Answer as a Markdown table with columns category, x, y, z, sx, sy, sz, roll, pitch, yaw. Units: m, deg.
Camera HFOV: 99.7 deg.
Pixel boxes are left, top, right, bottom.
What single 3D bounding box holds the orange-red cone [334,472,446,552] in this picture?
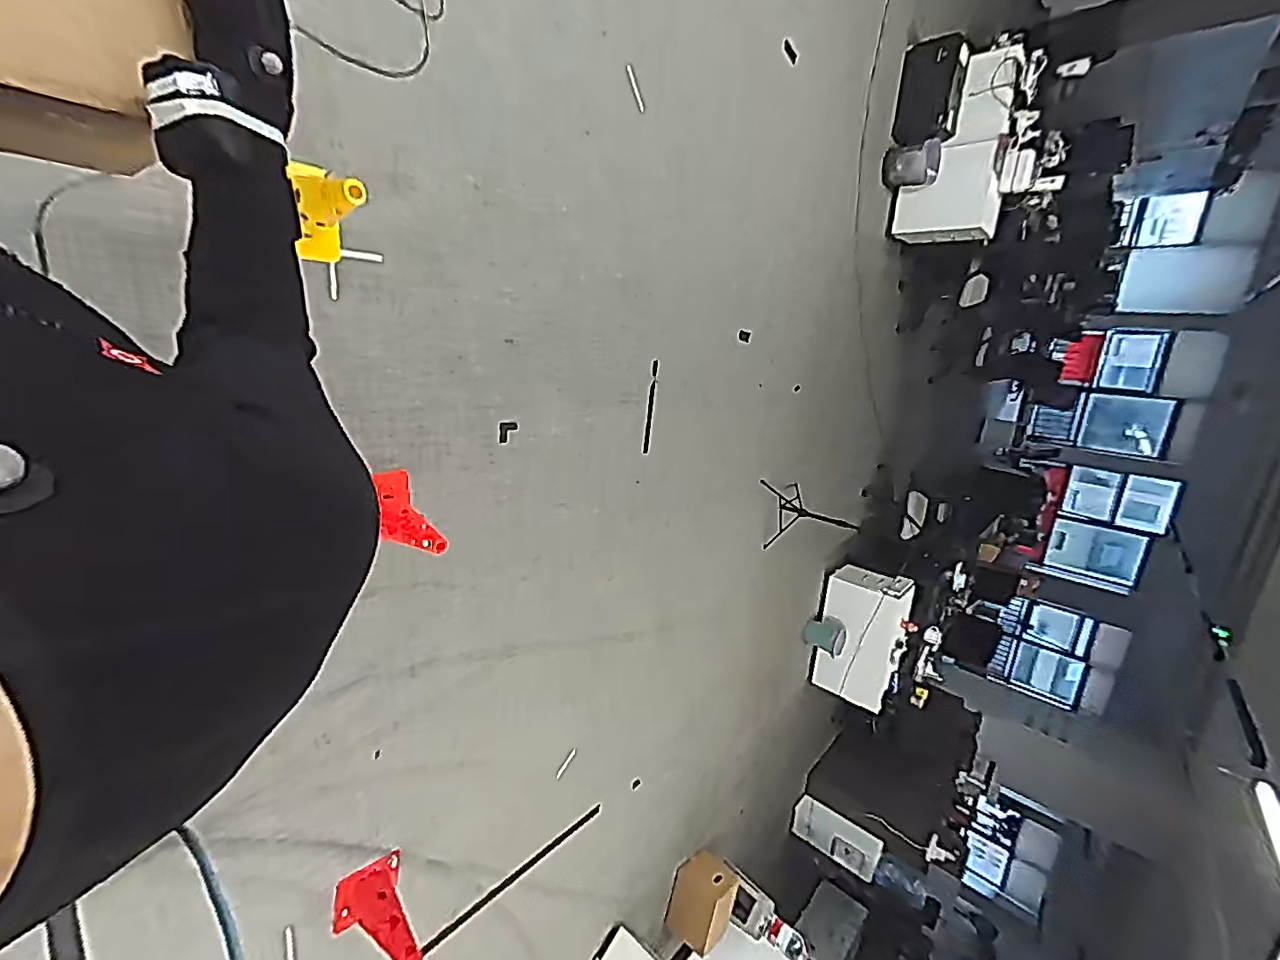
| category | x | y | z | sx | sy | sz | roll | pitch | yaw |
| --- | --- | --- | --- | --- | --- | --- | --- | --- | --- |
| orange-red cone | -0.614 | 0.118 | 1.399 | 0.198 | 0.360 | 0.199 | -15 | 112 | -48 |

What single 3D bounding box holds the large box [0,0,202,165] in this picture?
| category | x | y | z | sx | sy | sz | roll | pitch | yaw |
| --- | --- | --- | --- | --- | --- | --- | --- | --- | --- |
| large box | -0.564 | -0.420 | 0.312 | 0.408 | 0.320 | 0.320 | -14 | 115 | -49 |

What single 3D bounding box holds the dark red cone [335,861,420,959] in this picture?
| category | x | y | z | sx | sy | sz | roll | pitch | yaw |
| --- | --- | --- | --- | --- | --- | --- | --- | --- | --- |
| dark red cone | -0.754 | 1.388 | 1.637 | 0.201 | 0.394 | 0.202 | -2 | 104 | -49 |
